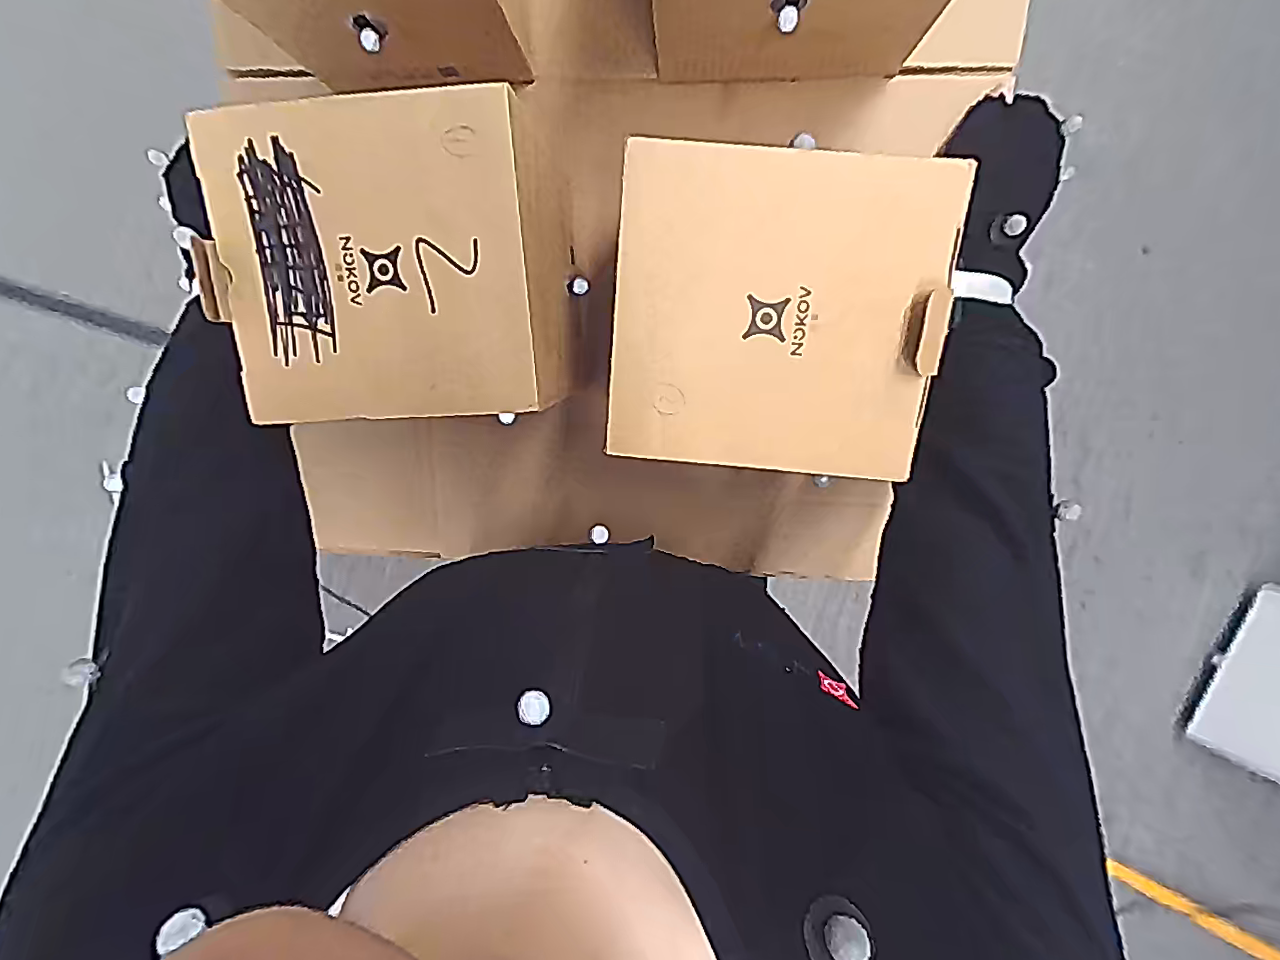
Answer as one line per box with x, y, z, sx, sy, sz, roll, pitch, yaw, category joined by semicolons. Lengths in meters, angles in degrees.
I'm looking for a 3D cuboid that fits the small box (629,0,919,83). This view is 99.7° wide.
0.082;-0.358;0.307;0.179;0.176;0.168;2;103;5;small box

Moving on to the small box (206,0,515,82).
-0.179;-0.371;0.325;0.168;0.176;0.179;0;102;4;small box
